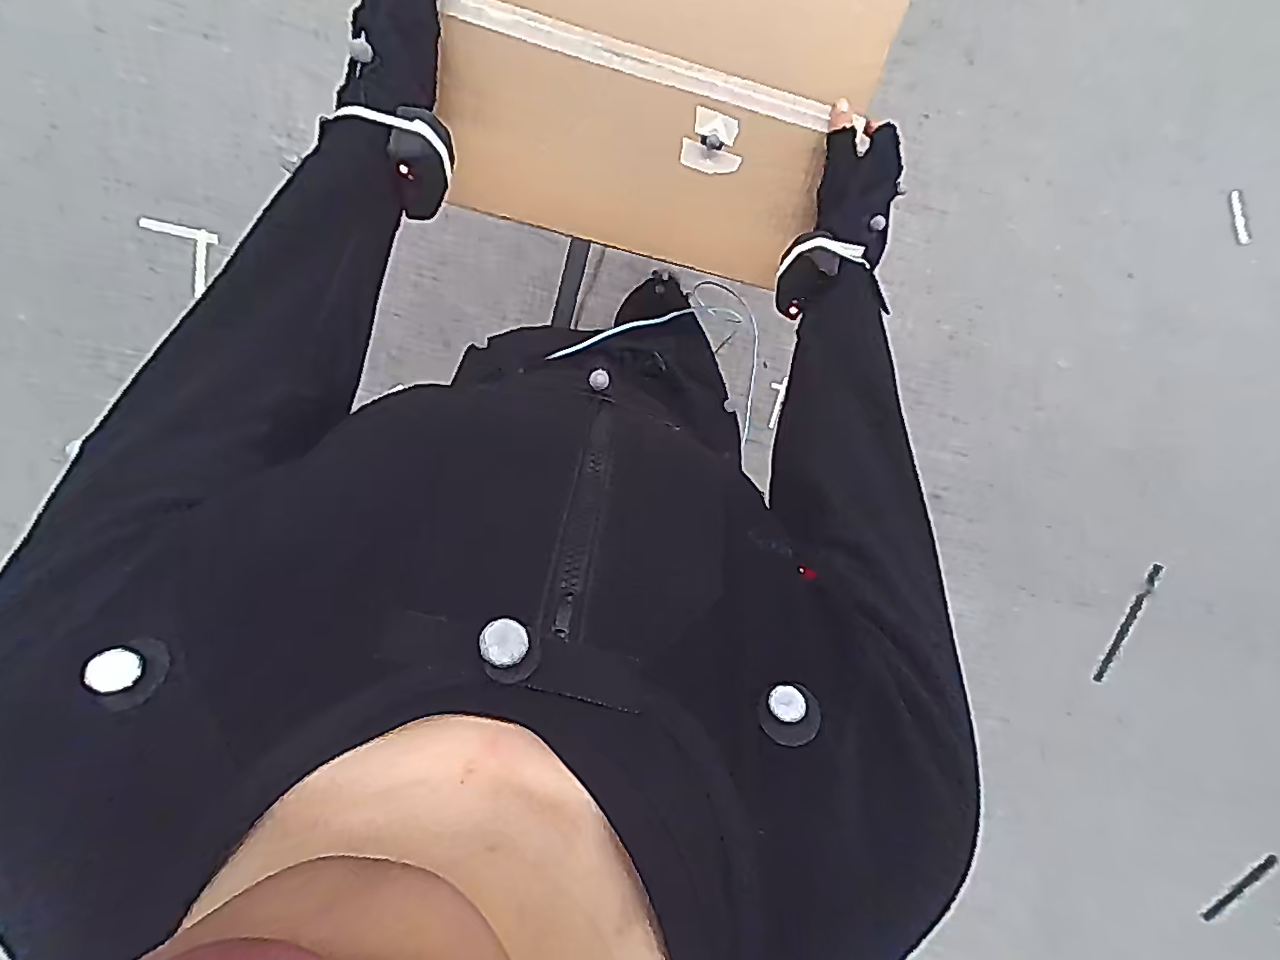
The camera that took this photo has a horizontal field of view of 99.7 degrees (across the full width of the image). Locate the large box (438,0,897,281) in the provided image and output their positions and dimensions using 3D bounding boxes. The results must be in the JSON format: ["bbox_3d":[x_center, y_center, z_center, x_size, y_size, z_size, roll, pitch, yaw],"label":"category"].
[{"bbox_3d":[0.012,-0.454,0.643,0.408,0.320,0.320,11,116,-9],"label":"large box"}]
